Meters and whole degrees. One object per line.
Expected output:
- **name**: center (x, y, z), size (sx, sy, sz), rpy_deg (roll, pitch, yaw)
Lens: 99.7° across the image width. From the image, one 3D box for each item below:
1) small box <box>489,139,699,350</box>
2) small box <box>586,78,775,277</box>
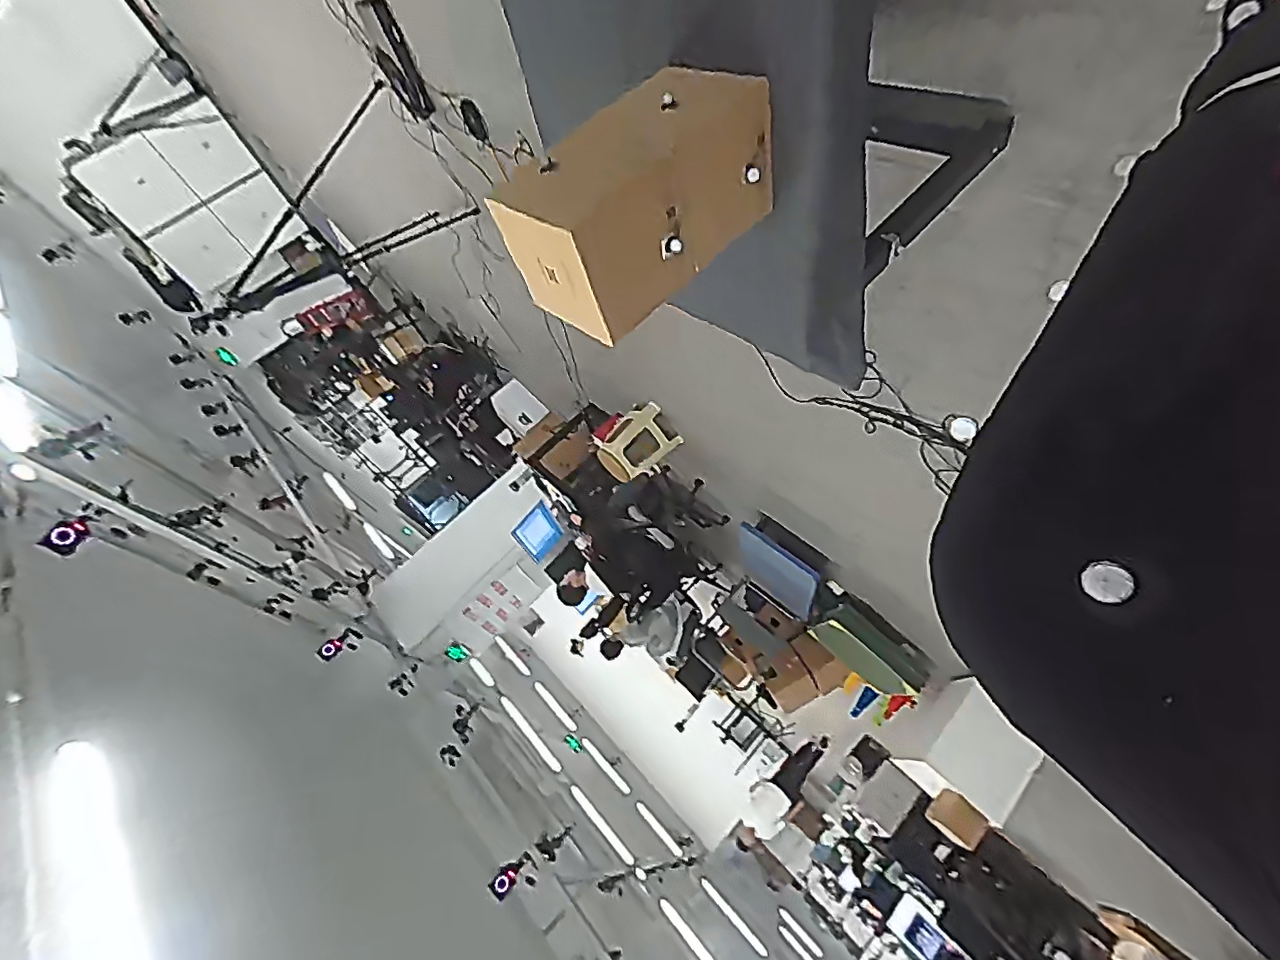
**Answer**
- **small box**: center (-0.050, -0.304, 0.692), size (0.179, 0.176, 0.168), rpy_deg (34, 162, 33)
- **small box**: center (0.061, -0.414, 0.735), size (0.179, 0.176, 0.168), rpy_deg (35, 161, 33)
